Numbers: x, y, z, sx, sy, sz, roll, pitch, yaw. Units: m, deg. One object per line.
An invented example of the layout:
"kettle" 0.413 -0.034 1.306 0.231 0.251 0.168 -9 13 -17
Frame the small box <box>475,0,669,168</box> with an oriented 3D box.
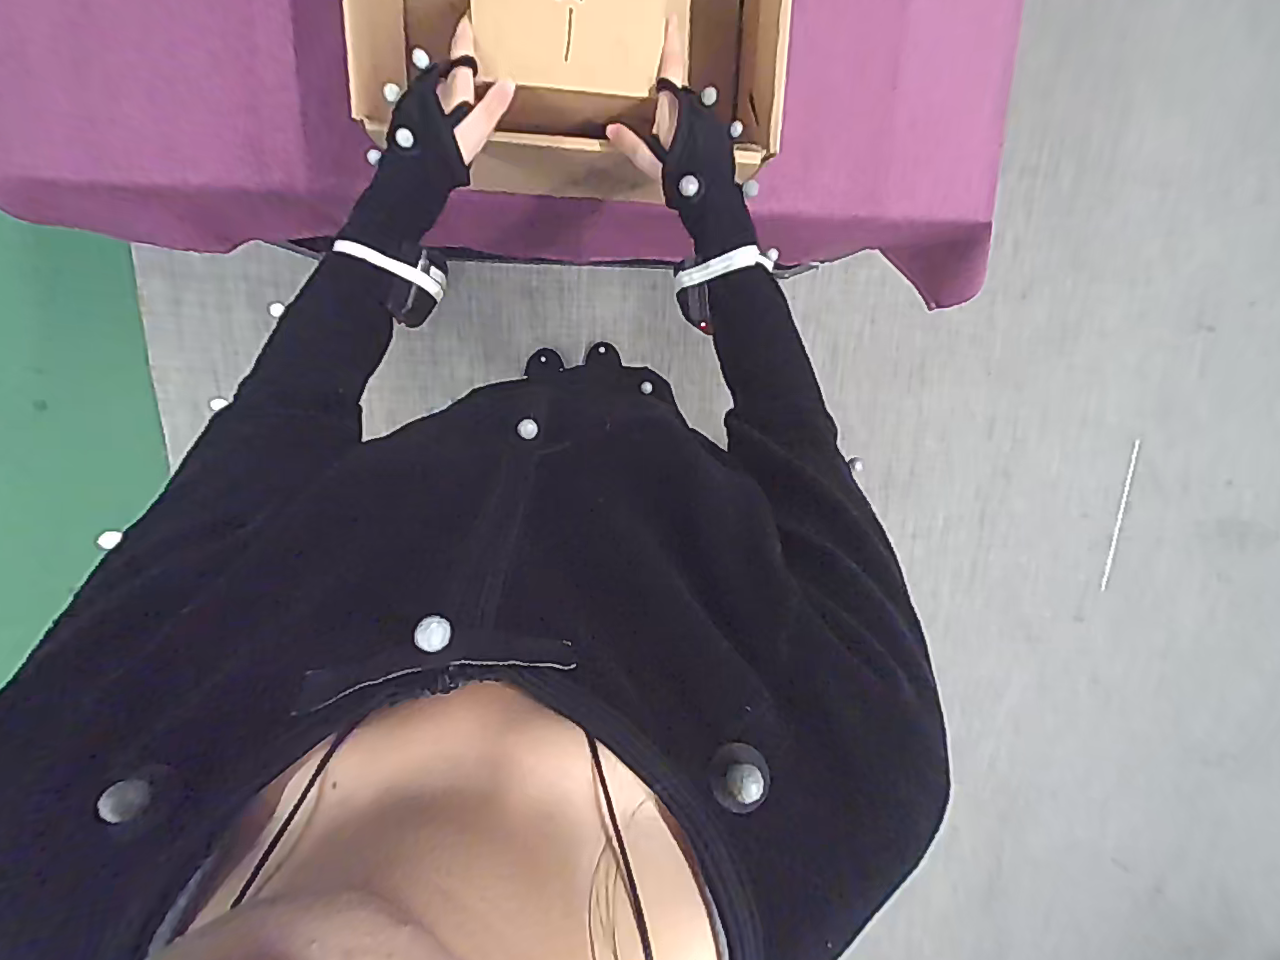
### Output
"small box" -0.063 -0.437 0.533 0.168 0.176 0.179 2 103 -5
